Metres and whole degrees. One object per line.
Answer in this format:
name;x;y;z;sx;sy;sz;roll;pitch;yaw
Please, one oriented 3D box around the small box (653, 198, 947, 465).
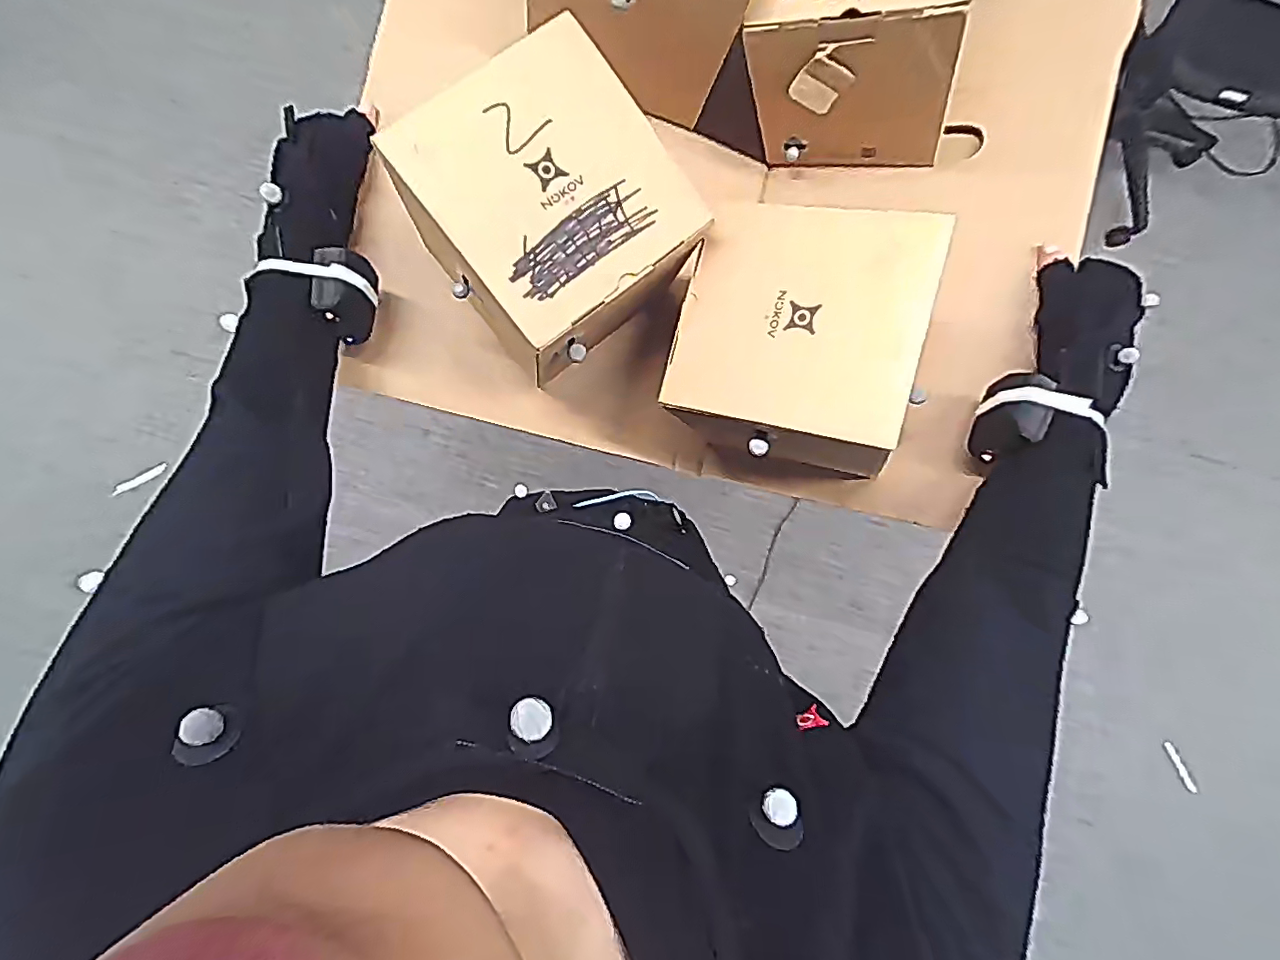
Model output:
small box;0.137;-0.114;0.468;0.179;0.176;0.168;15;90;23
